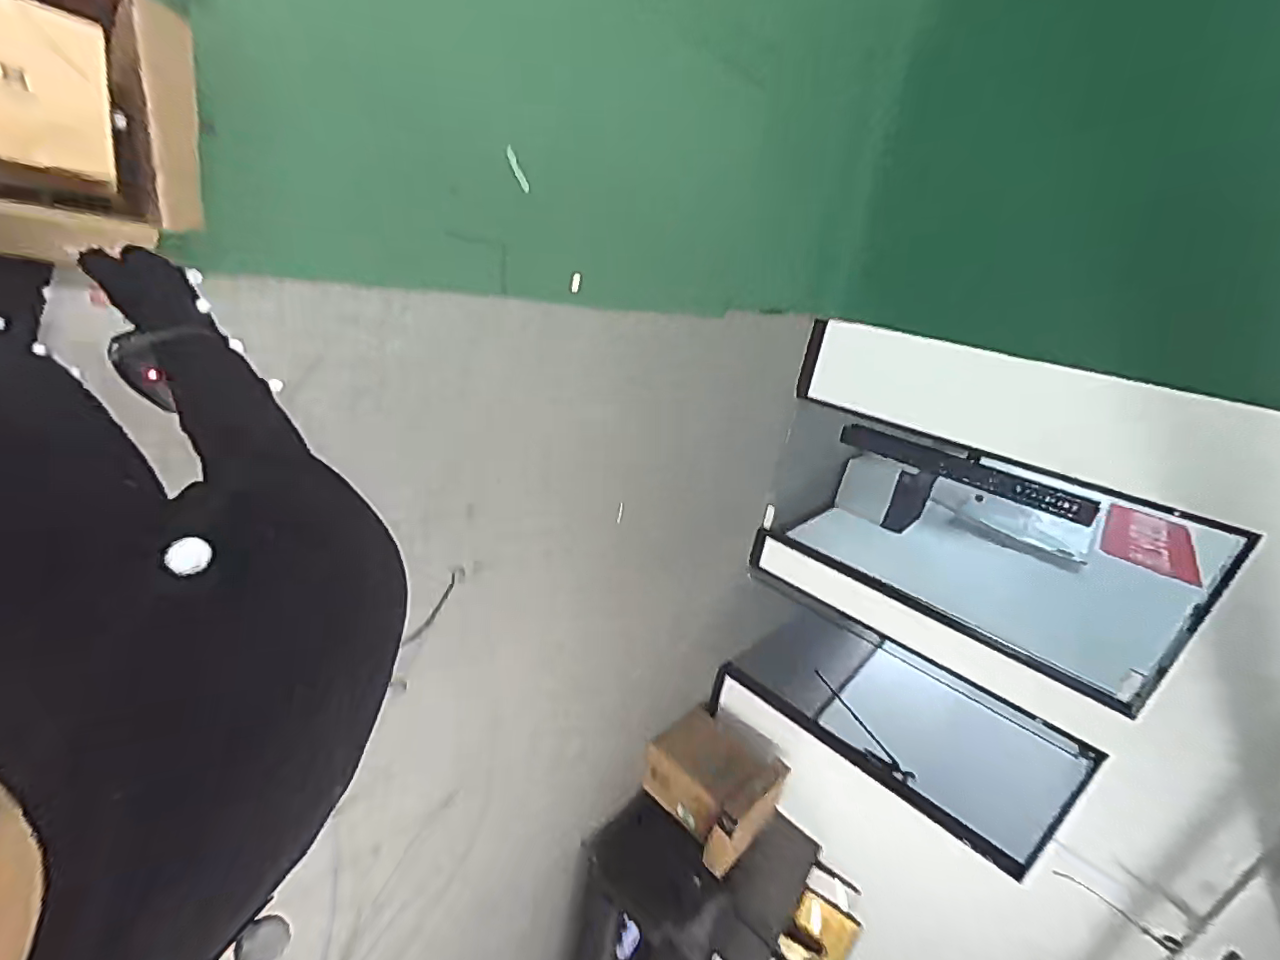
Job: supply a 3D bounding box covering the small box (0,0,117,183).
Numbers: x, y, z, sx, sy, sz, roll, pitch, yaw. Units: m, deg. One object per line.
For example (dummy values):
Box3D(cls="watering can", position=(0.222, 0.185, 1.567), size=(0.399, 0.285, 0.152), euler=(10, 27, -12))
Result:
Box3D(cls="small box", position=(-0.802, -0.504, 0.698), size=(0.168, 0.176, 0.179), euler=(-7, 114, -45))
